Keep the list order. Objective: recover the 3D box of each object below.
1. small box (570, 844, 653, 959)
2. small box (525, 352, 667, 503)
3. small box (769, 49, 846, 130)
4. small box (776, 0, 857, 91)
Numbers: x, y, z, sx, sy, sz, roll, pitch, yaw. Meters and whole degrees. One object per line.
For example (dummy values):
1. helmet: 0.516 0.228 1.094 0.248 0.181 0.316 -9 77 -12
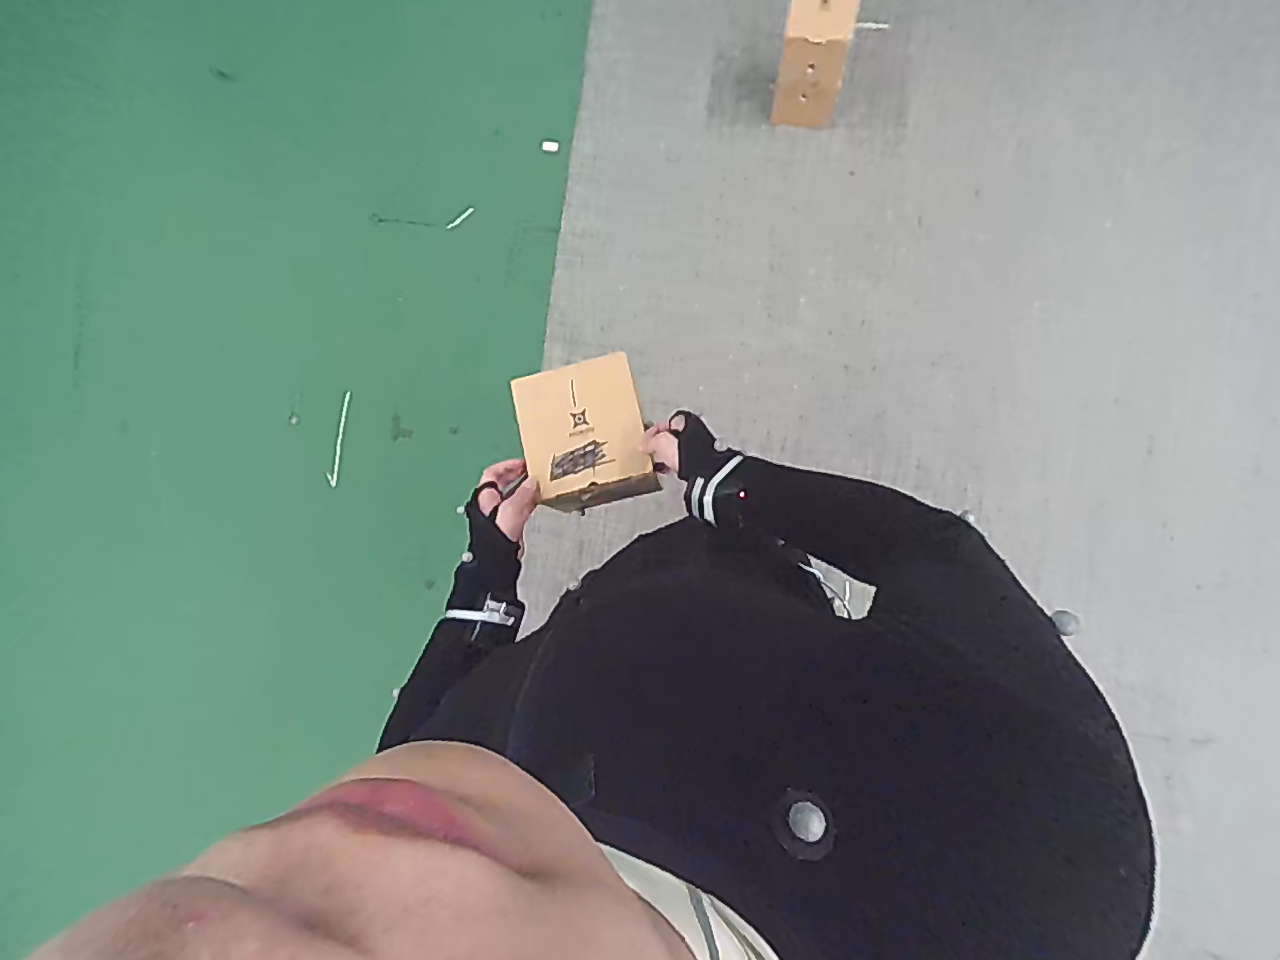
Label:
1. small box: -0.064 1.061 1.351 0.168 0.176 0.179 8 87 7
2. small box: -0.057 -0.066 0.814 0.168 0.176 0.179 -13 80 4
3. small box: 0.484 -1.160 1.576 0.179 0.176 0.168 12 90 7
4. small box: 0.459 -1.163 1.414 0.168 0.176 0.179 12 90 7
